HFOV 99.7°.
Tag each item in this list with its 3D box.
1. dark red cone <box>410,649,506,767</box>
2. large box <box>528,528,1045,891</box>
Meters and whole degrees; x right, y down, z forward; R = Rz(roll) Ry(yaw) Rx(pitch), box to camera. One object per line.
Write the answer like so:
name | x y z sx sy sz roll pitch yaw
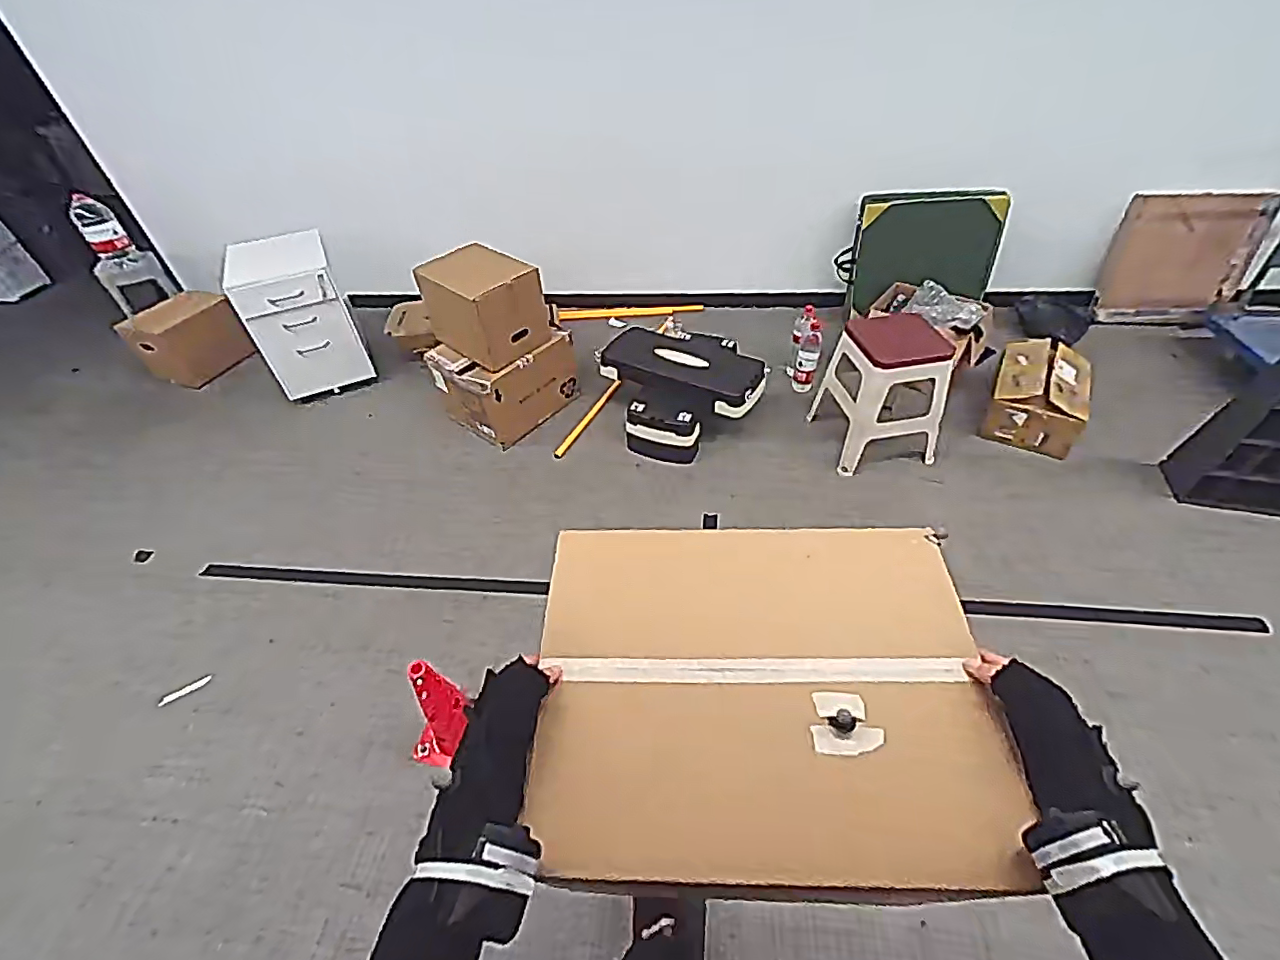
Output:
dark red cone | -0.483 0.528 1.323 0.201 0.394 0.202 7 46 10
large box | 0.116 0.269 0.620 0.408 0.320 0.320 -1 51 3
